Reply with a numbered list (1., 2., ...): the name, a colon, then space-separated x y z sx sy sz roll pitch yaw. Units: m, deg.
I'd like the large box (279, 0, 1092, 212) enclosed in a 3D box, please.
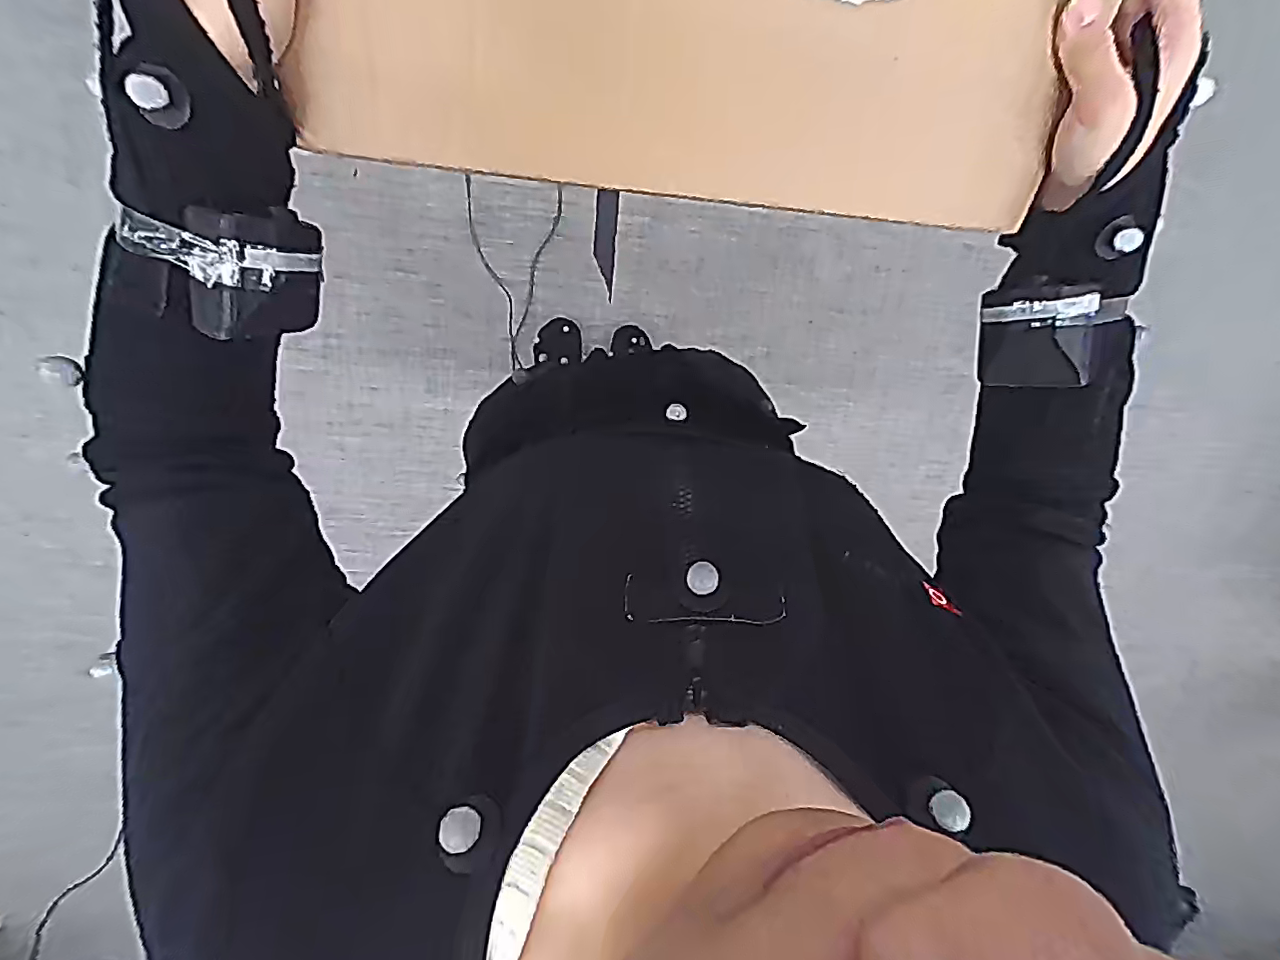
1. large box: 0.024 -0.375 0.348 0.408 0.320 0.320 2 123 -8
